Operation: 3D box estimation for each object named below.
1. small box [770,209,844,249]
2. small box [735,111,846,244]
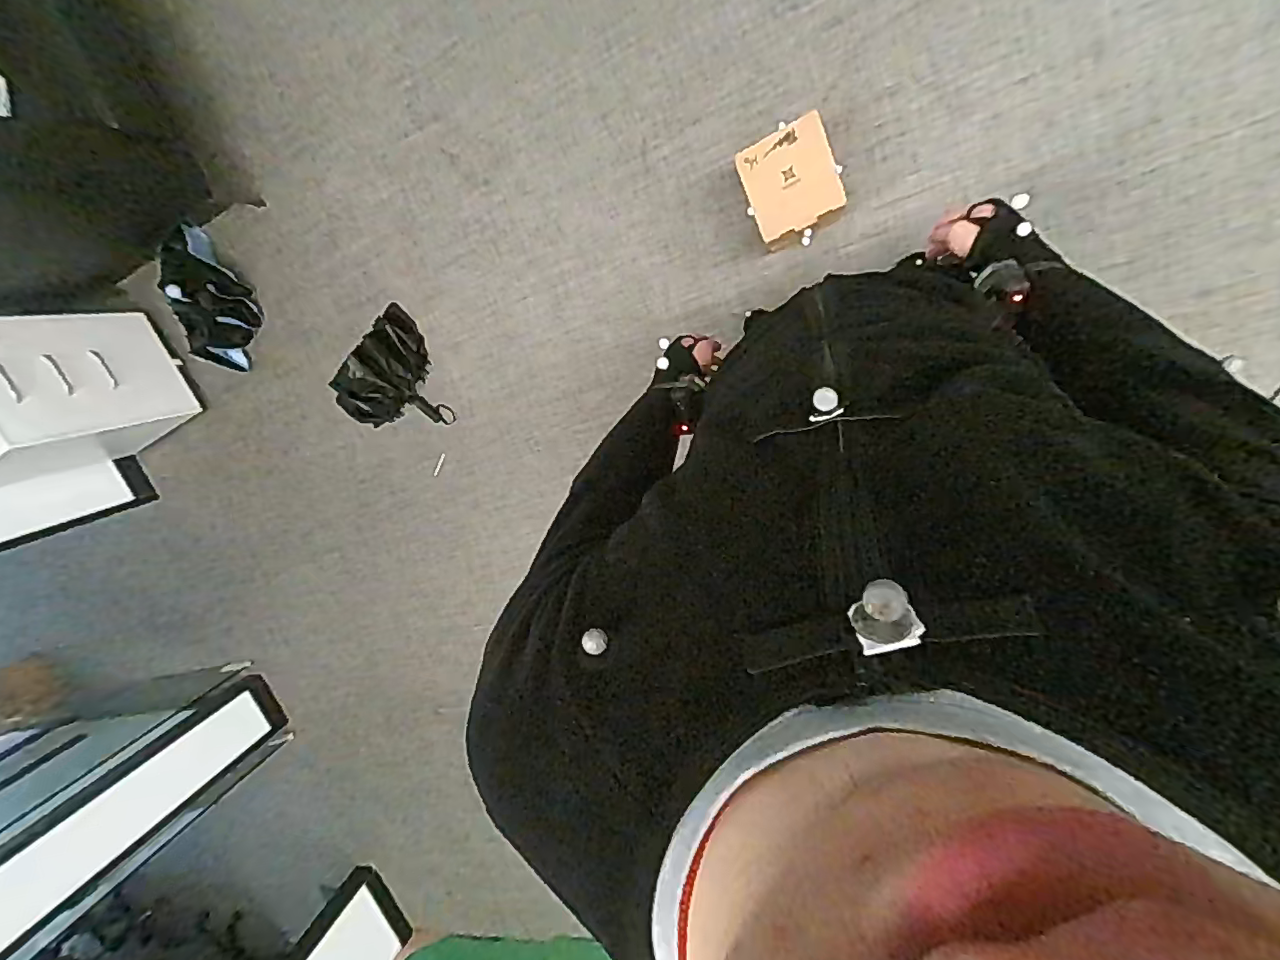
[{"bbox_3d":[0.357,-0.654,1.247,0.168,0.176,0.179,-20,103,24],"label":"small box"},{"bbox_3d":[0.312,-0.601,1.100,0.168,0.176,0.179,-19,103,24],"label":"small box"}]
